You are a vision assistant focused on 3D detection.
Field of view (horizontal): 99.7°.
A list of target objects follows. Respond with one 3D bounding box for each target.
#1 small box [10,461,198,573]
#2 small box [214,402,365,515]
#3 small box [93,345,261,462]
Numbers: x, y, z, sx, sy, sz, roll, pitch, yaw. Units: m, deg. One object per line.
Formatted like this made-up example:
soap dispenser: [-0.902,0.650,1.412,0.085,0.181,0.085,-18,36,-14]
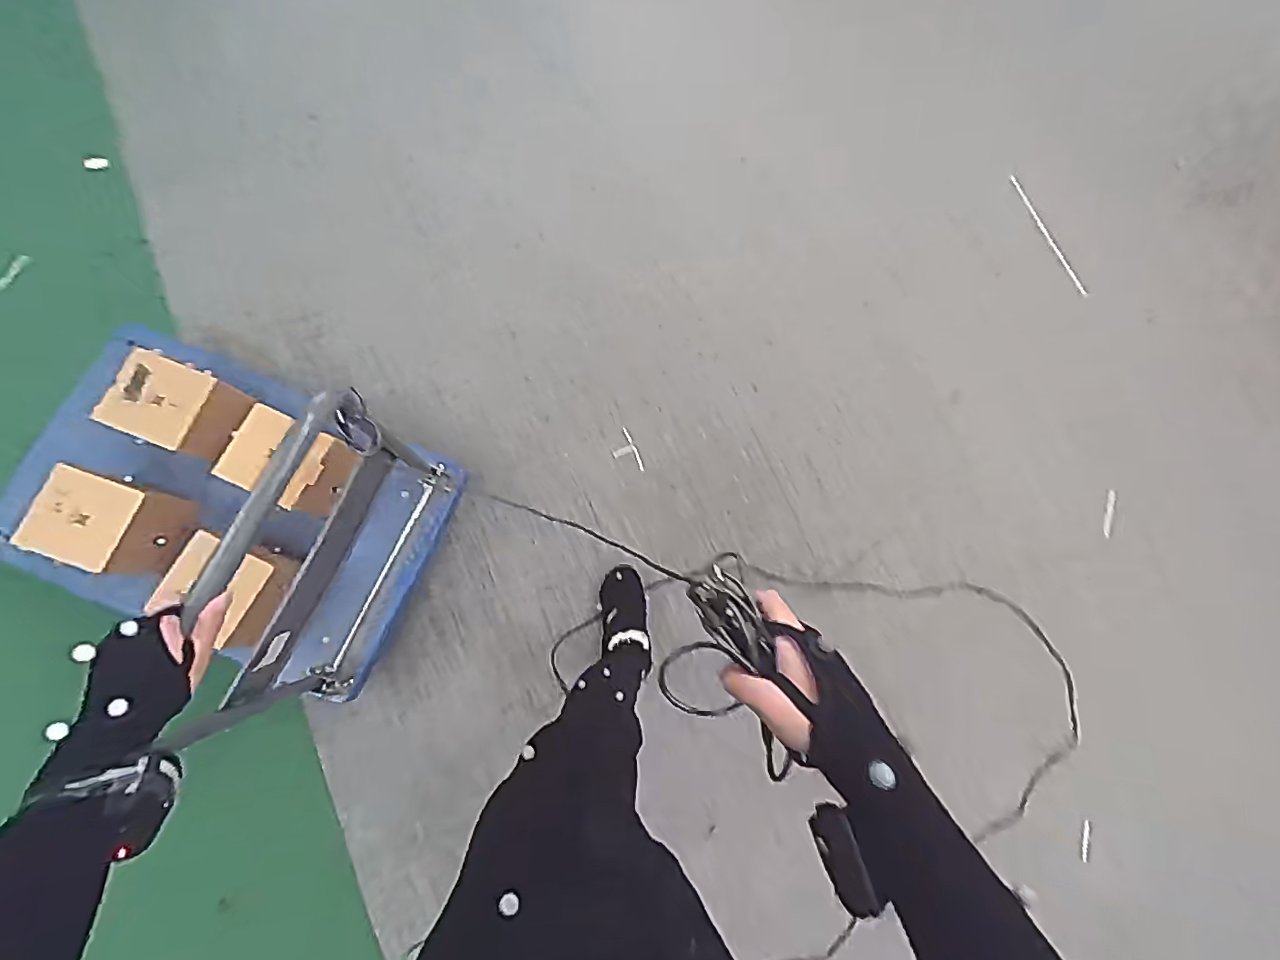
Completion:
small box: [-1.059,0.080,1.090,0.179,0.176,0.168,21,77,-2]
small box: [-0.729,-0.036,1.148,0.179,0.176,0.168,26,78,-1]
small box: [-0.961,-0.152,1.143,0.179,0.176,0.168,23,79,-2]
